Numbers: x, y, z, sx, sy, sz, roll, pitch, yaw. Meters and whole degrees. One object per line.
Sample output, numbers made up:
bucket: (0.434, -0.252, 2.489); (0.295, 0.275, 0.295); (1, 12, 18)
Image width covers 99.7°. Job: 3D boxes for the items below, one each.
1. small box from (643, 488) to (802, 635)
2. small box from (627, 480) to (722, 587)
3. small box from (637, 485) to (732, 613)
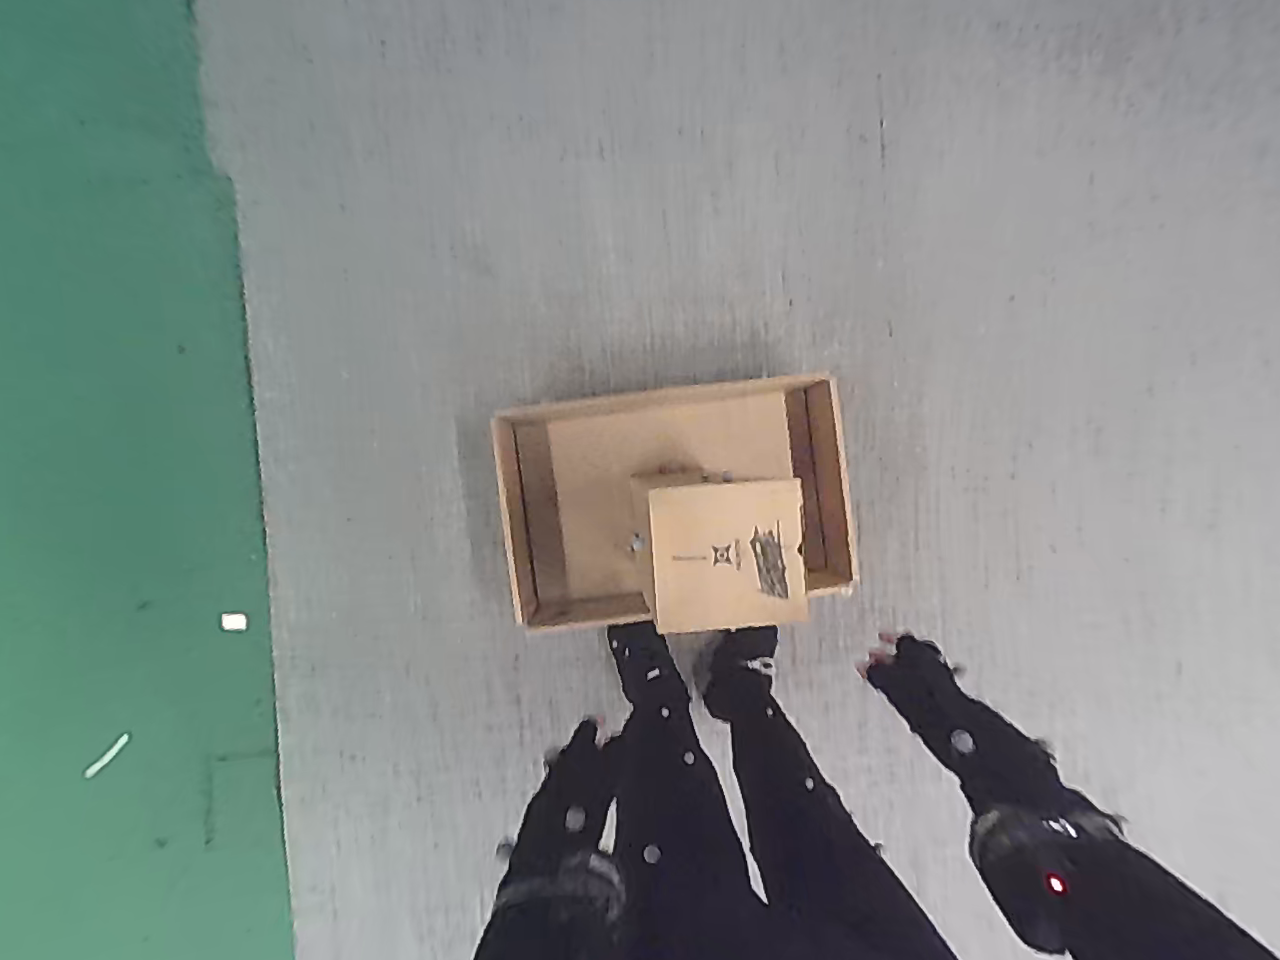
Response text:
small box: (0.097, 0.096, 0.709); (0.179, 0.176, 0.168); (-3, 89, -2)
small box: (0.066, 0.093, 1.020); (0.168, 0.176, 0.179); (-6, 89, -3)
small box: (0.082, 0.101, 0.857); (0.168, 0.176, 0.179); (-3, 91, -3)
